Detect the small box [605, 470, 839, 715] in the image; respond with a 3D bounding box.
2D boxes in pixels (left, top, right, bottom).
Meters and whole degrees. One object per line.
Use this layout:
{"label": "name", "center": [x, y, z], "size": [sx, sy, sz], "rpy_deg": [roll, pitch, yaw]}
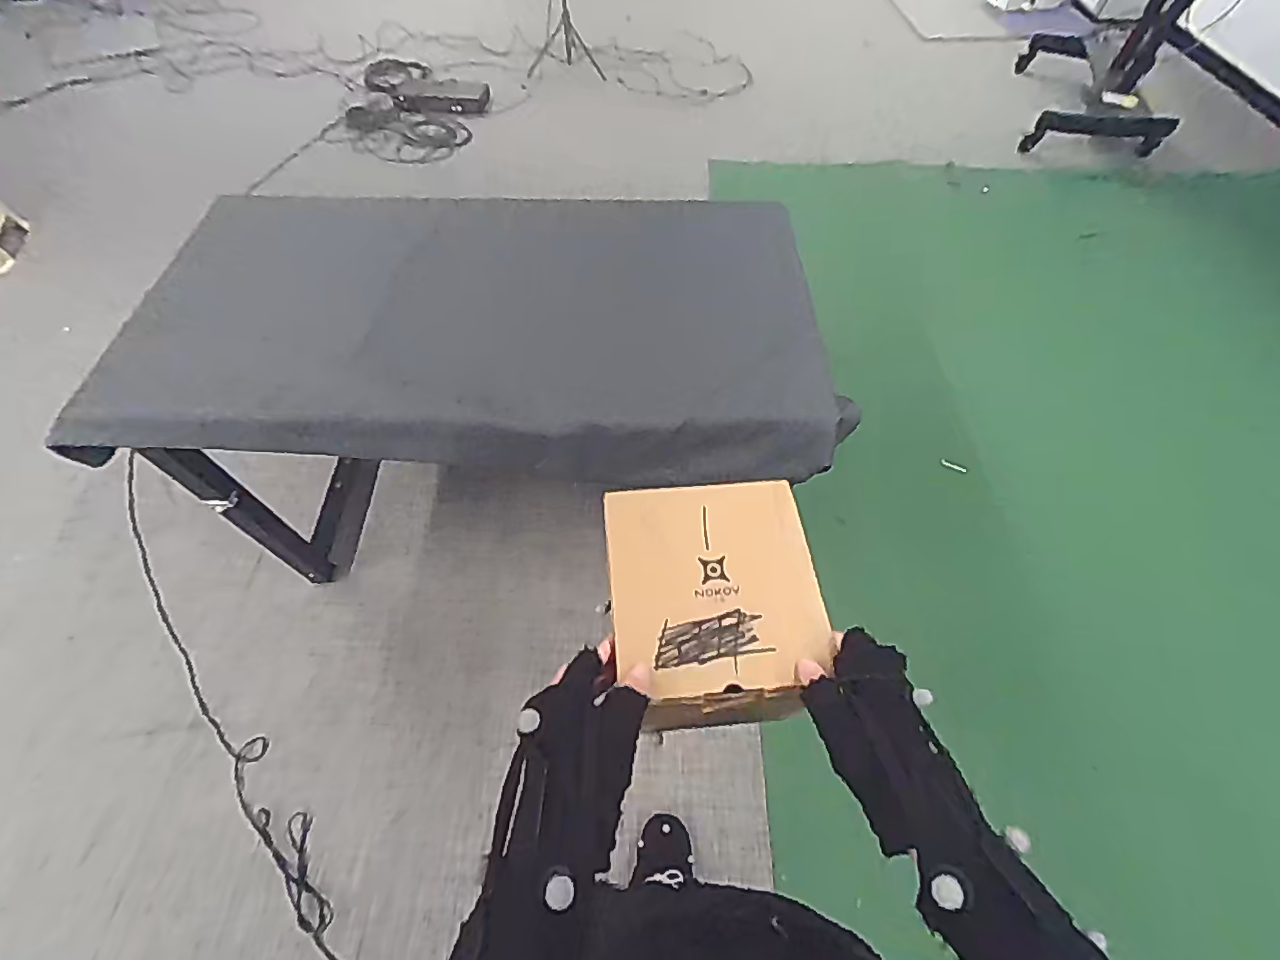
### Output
{"label": "small box", "center": [0.057, 0.111, 0.497], "size": [0.168, 0.176, 0.179], "rpy_deg": [-4, 58, -4]}
